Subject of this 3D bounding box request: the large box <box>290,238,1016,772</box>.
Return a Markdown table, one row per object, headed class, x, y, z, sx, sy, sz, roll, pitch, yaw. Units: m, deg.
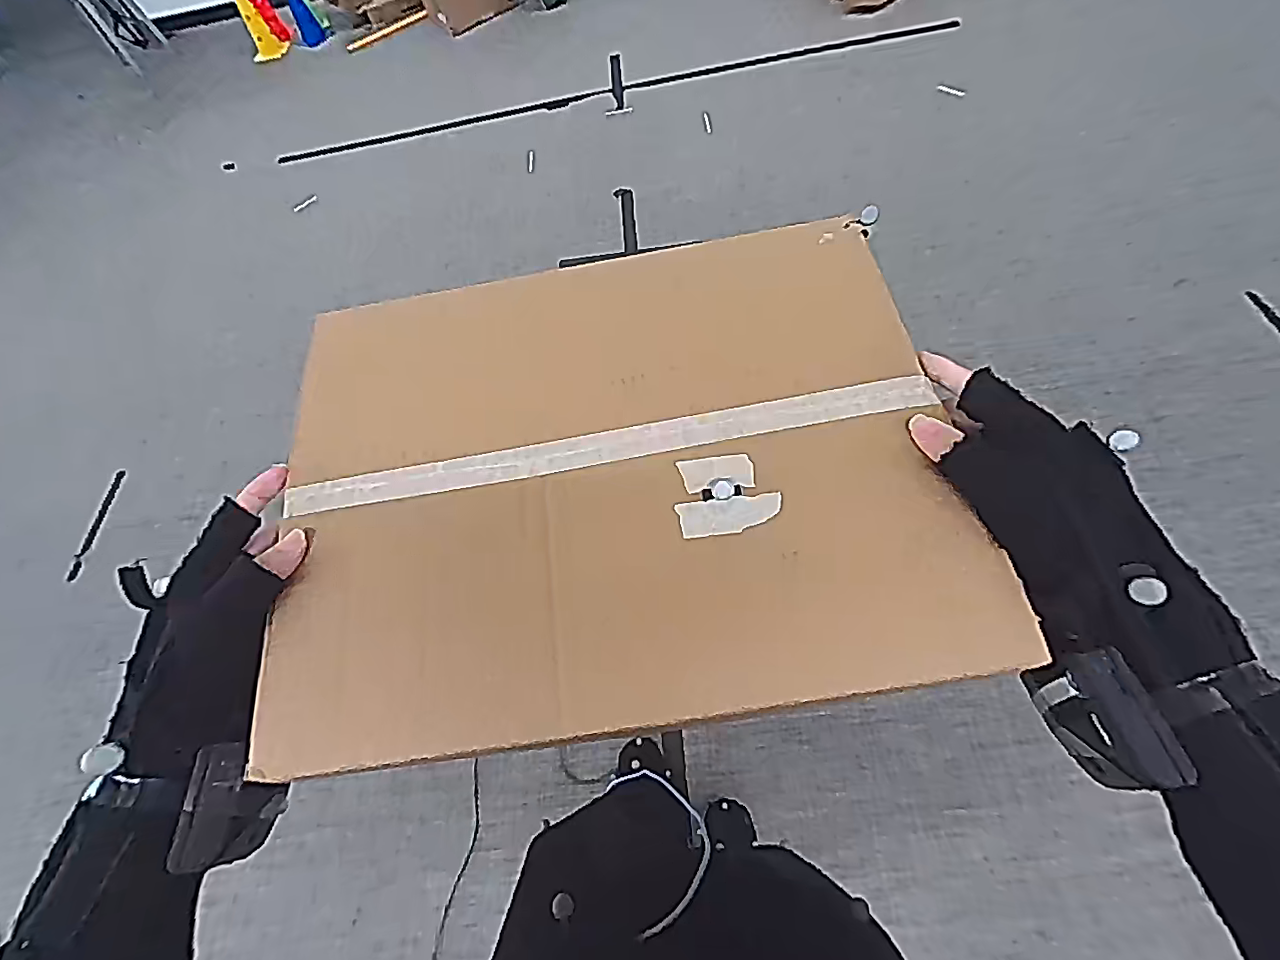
| class | x | y | z | sx | sy | sz | roll | pitch | yaw |
| --- | --- | --- | --- | --- | --- | --- | --- | --- | --- |
| large box | -0.004 | 0.049 | 0.484 | 0.408 | 0.320 | 0.320 | -10 | 66 | 2 |
